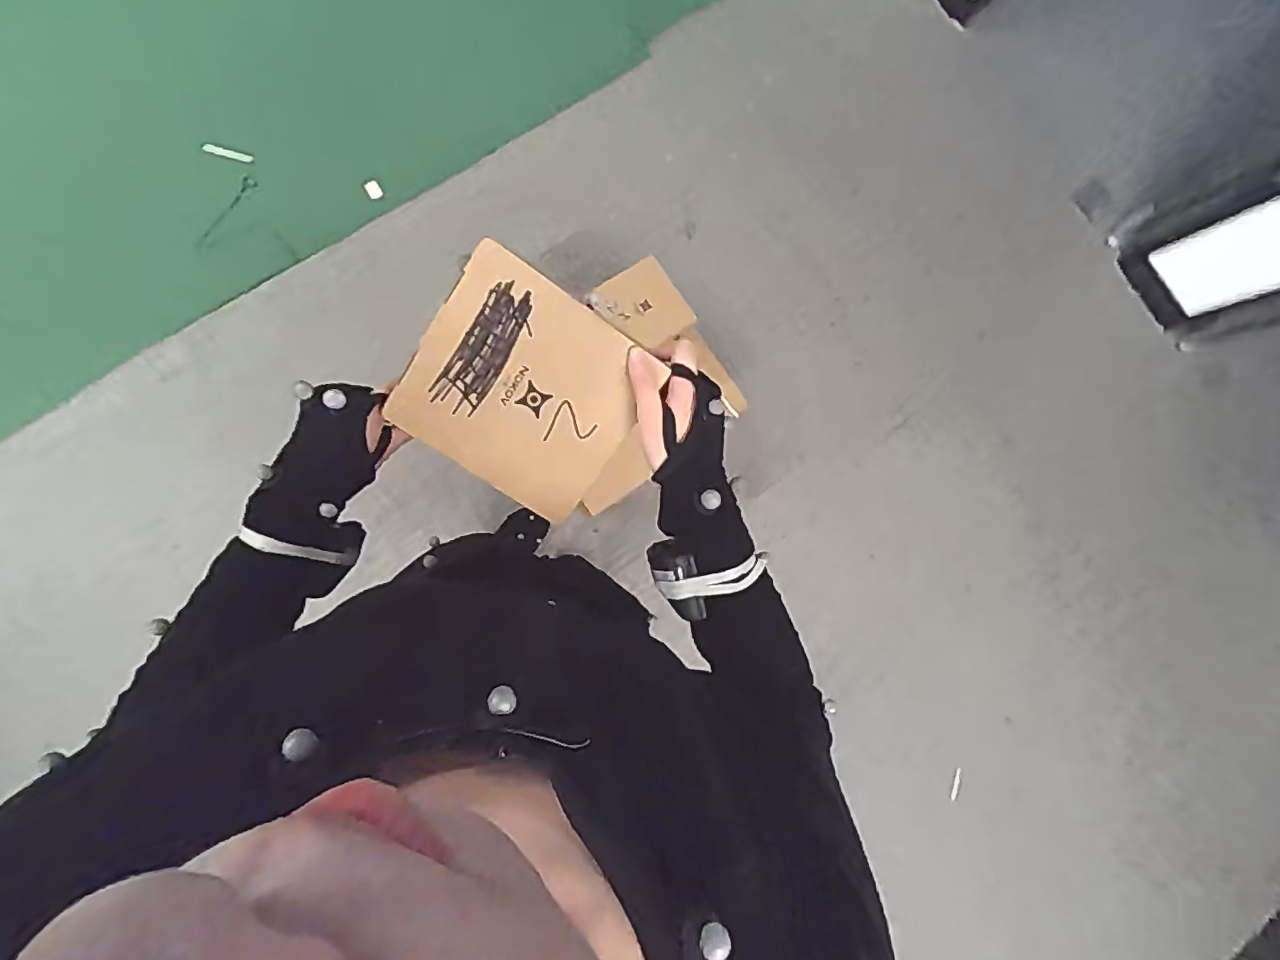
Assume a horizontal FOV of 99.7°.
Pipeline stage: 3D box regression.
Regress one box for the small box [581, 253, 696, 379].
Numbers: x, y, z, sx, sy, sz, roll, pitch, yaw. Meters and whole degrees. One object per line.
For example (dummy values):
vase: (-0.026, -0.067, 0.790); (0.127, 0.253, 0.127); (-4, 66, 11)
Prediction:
small box: (-0.013, -0.347, 1.171); (0.179, 0.176, 0.168); (-35, 91, -12)
